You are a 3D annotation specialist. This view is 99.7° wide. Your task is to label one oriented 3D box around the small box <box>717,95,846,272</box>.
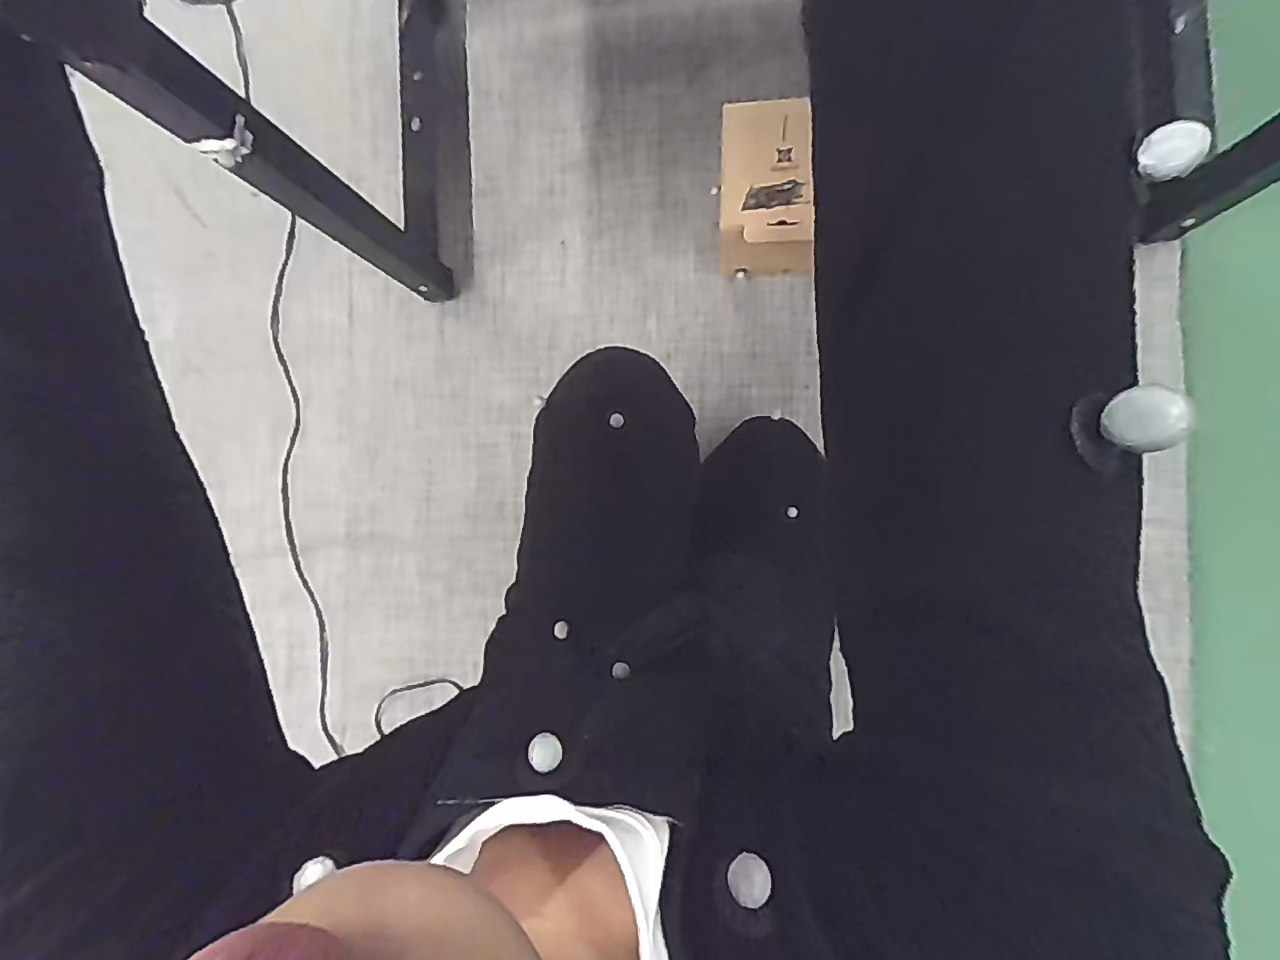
[{"bbox_3d":[0.202,-0.423,0.803,0.168,0.176,0.179,1,88,9],"label":"small box"}]
